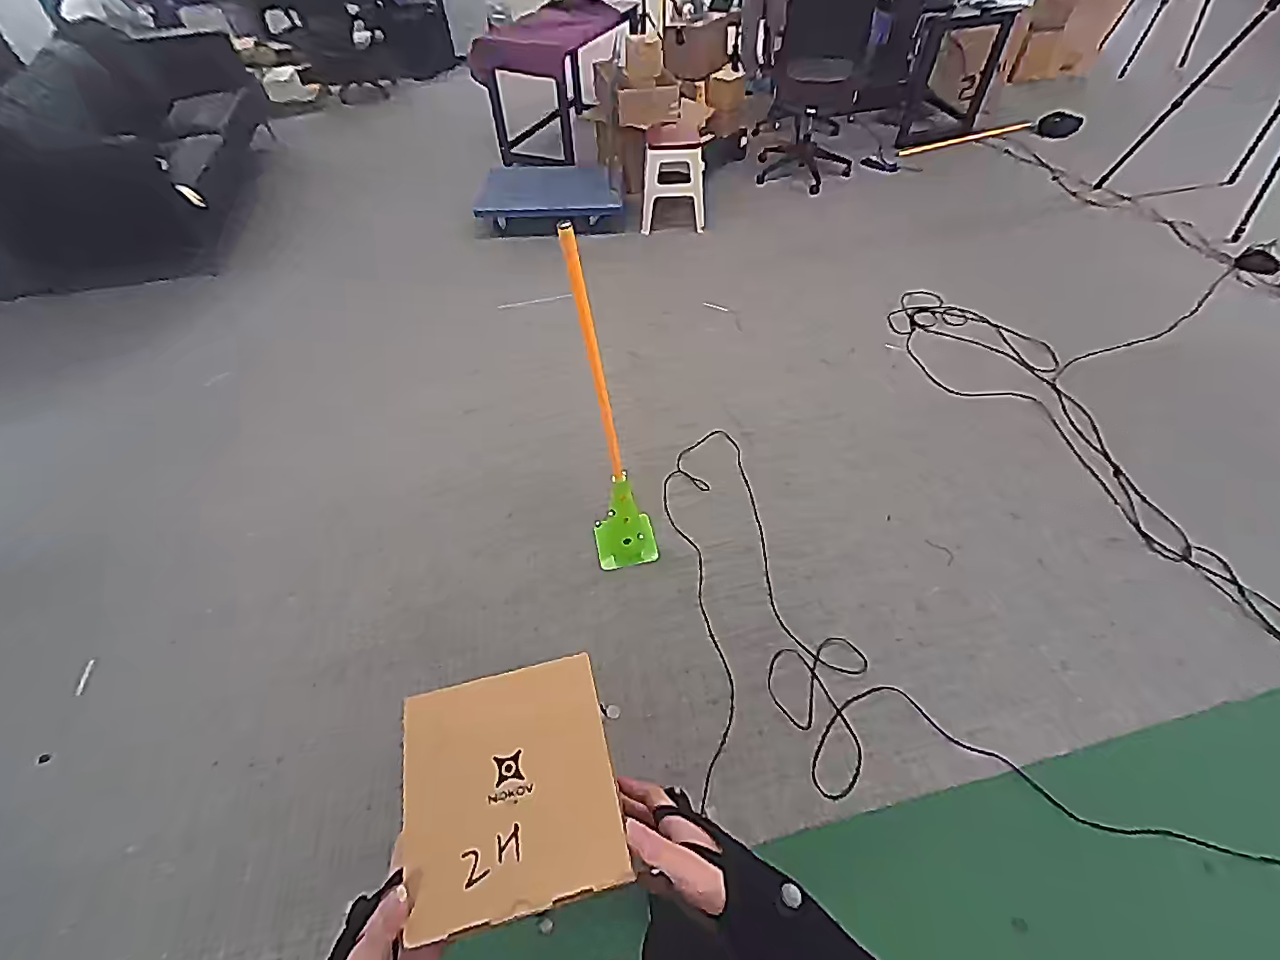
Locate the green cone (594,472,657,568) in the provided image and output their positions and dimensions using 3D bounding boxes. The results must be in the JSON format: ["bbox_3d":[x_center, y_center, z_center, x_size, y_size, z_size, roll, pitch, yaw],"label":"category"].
[{"bbox_3d":[-0.055,0.105,1.756,0.202,0.368,0.200,-10,52,-7],"label":"green cone"}]
